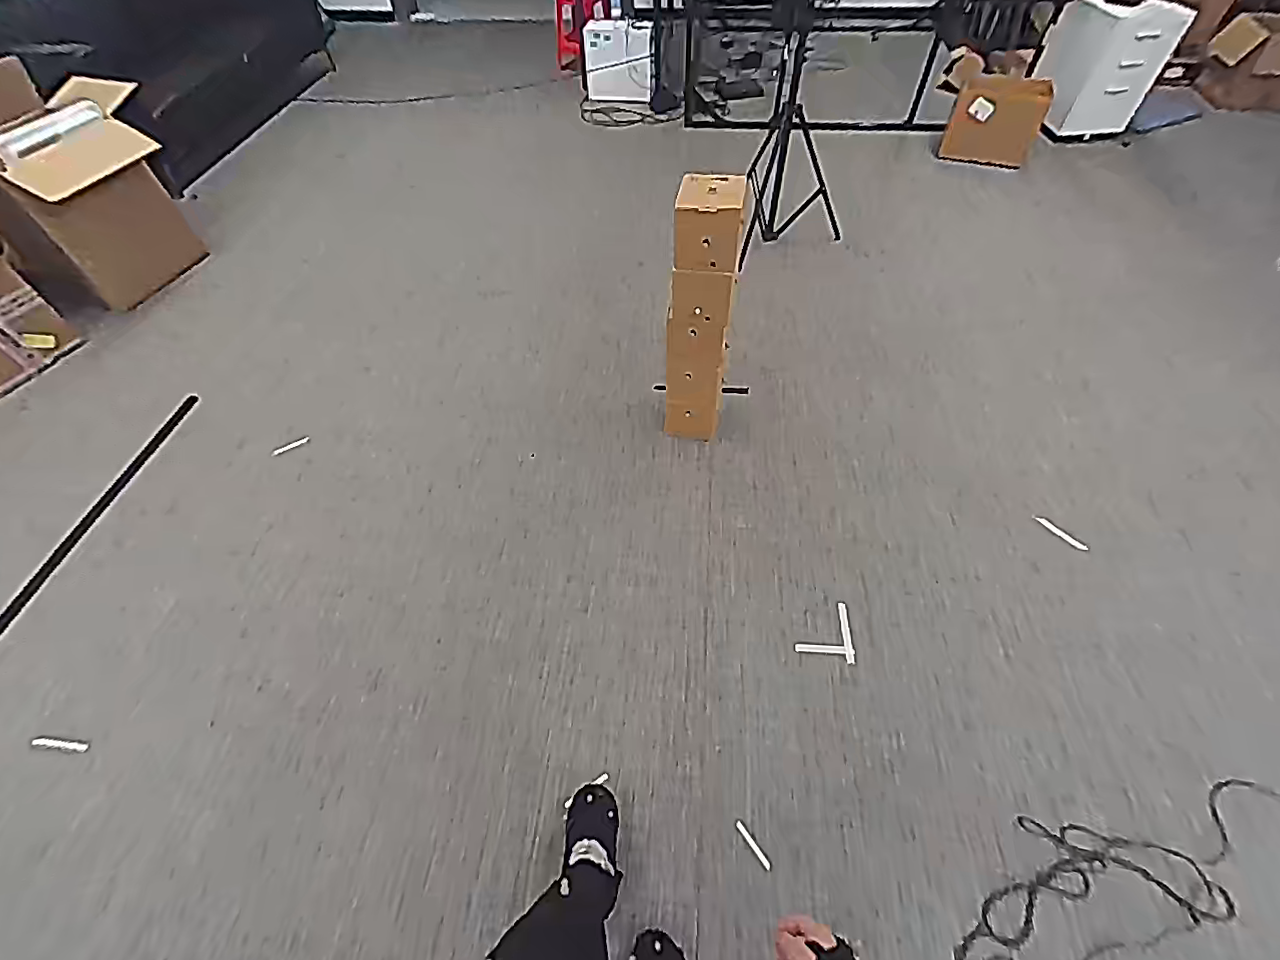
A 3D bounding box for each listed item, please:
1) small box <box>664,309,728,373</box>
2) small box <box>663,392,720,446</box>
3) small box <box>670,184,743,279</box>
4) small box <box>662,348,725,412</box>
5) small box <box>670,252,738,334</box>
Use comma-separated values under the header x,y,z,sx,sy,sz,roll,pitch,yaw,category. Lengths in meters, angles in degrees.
x,y,z,sx,sy,sz,roll,pitch,yaw,category
0.175,-0.452,1.687,0.179,0.176,0.168,10,55,9,small box
0.185,-0.242,1.936,0.179,0.176,0.168,9,54,9,small box
0.176,-0.652,1.426,0.168,0.176,0.179,7,55,9,small box
0.179,-0.348,1.811,0.179,0.176,0.168,12,55,11,small box
0.181,-0.547,1.552,0.168,0.176,0.179,9,55,10,small box
